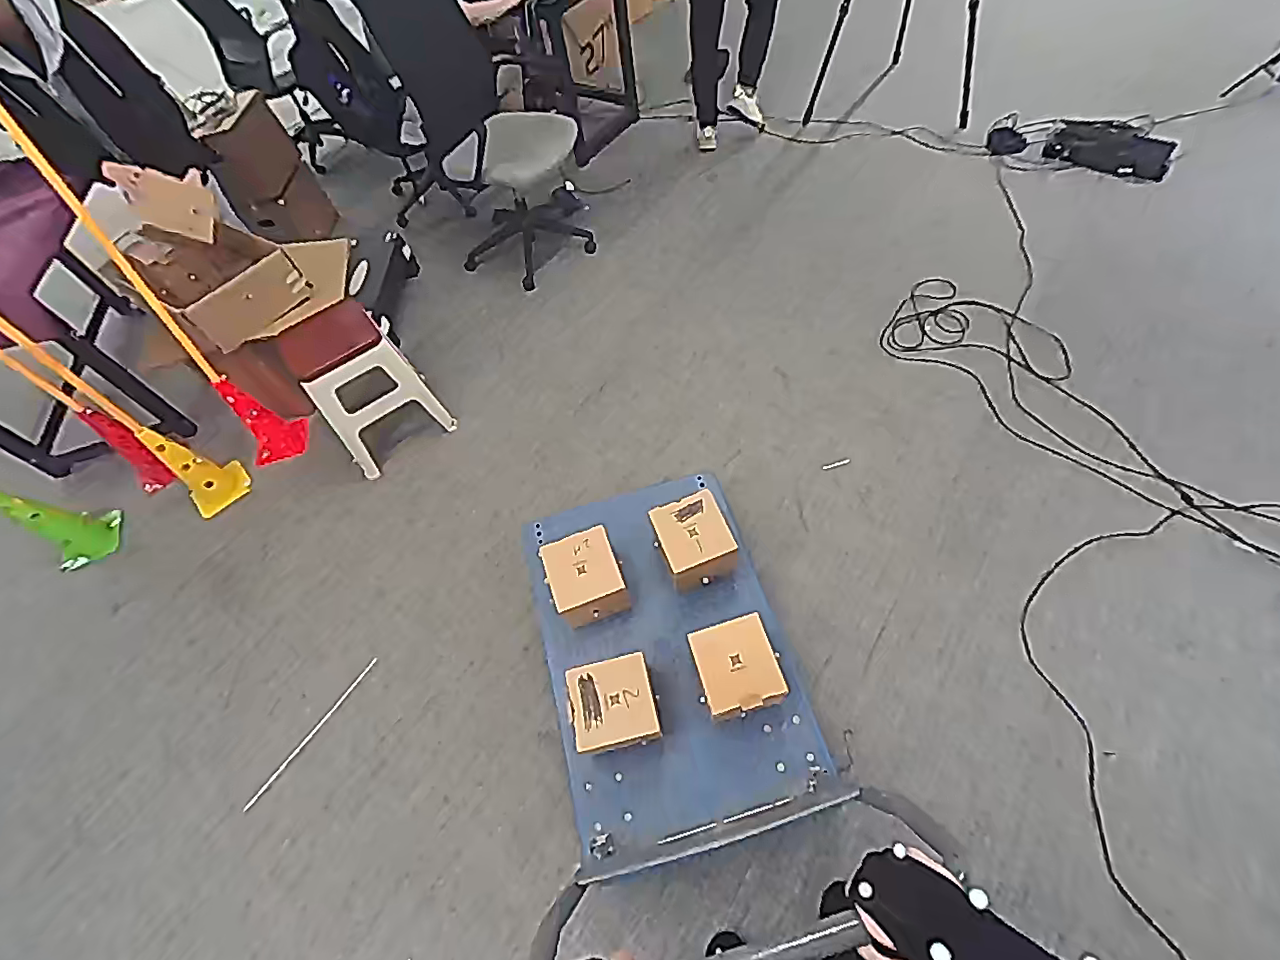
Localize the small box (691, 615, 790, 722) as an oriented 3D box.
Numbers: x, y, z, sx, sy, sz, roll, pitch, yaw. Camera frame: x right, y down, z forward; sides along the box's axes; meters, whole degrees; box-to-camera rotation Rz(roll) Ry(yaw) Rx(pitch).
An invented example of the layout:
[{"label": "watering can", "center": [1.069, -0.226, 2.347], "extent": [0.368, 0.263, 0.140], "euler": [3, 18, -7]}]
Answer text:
[{"label": "small box", "center": [0.215, 0.427, 1.211], "extent": [0.168, 0.176, 0.179], "euler": [-17, 63, -3]}]

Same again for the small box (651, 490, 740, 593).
[{"label": "small box", "center": [0.137, 0.158, 1.359], "extent": [0.168, 0.176, 0.179], "euler": [-21, 63, -5]}]

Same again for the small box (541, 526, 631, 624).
[{"label": "small box", "center": [-0.128, 0.245, 1.339], "extent": [0.168, 0.176, 0.179], "euler": [-19, 62, -6]}]
